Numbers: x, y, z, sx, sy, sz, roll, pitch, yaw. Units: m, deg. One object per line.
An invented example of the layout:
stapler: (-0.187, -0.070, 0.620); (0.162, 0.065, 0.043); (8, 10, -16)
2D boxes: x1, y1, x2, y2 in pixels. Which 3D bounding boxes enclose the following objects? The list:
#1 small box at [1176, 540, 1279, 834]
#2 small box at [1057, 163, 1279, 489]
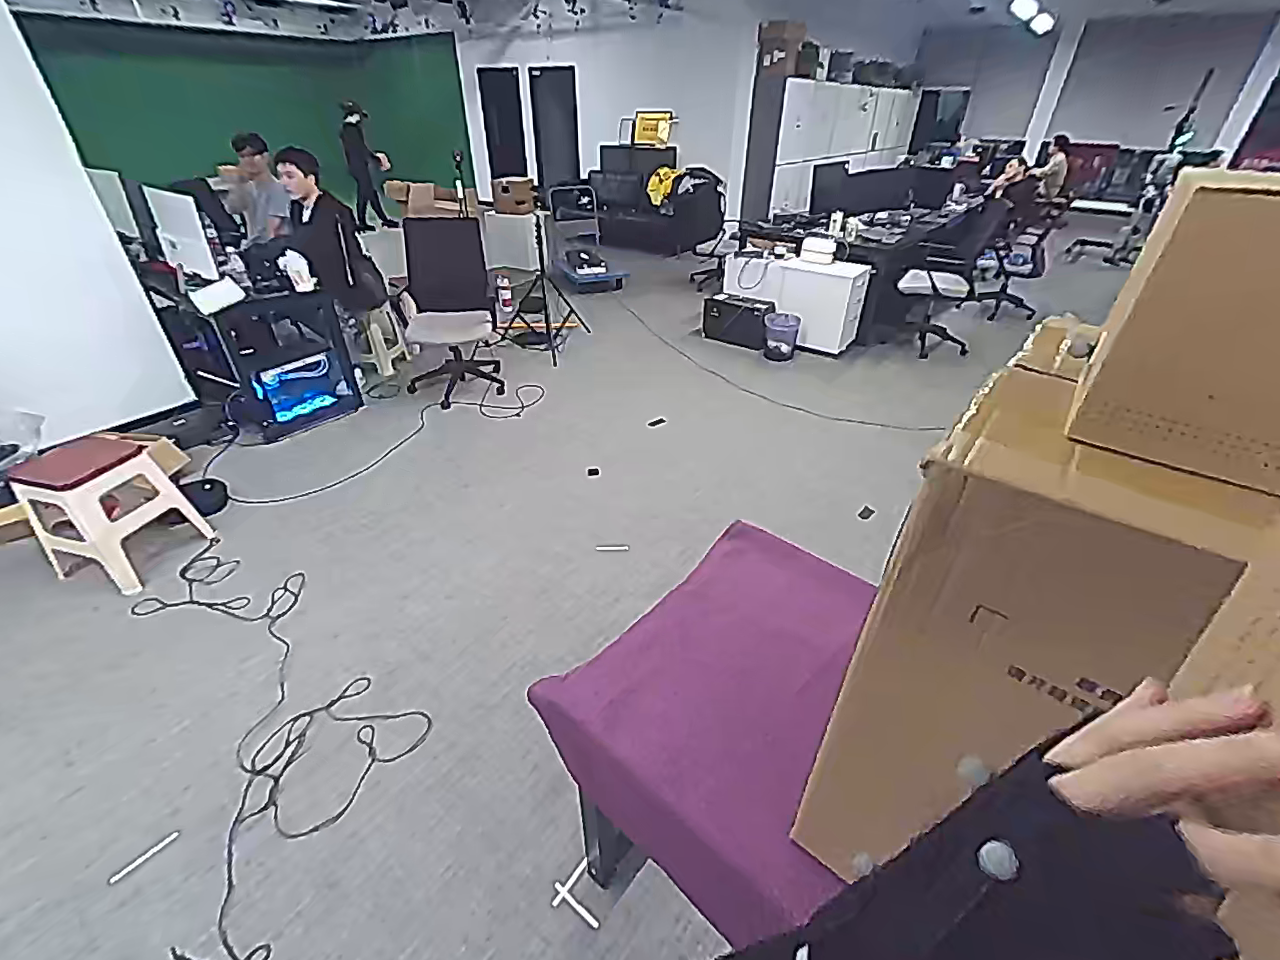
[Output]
small box: (0.291, 0.065, 0.116); (0.168, 0.179, 0.176); (13, 19, 7)
small box: (0.426, -0.106, 0.364); (0.179, 0.176, 0.168); (23, 40, 30)
